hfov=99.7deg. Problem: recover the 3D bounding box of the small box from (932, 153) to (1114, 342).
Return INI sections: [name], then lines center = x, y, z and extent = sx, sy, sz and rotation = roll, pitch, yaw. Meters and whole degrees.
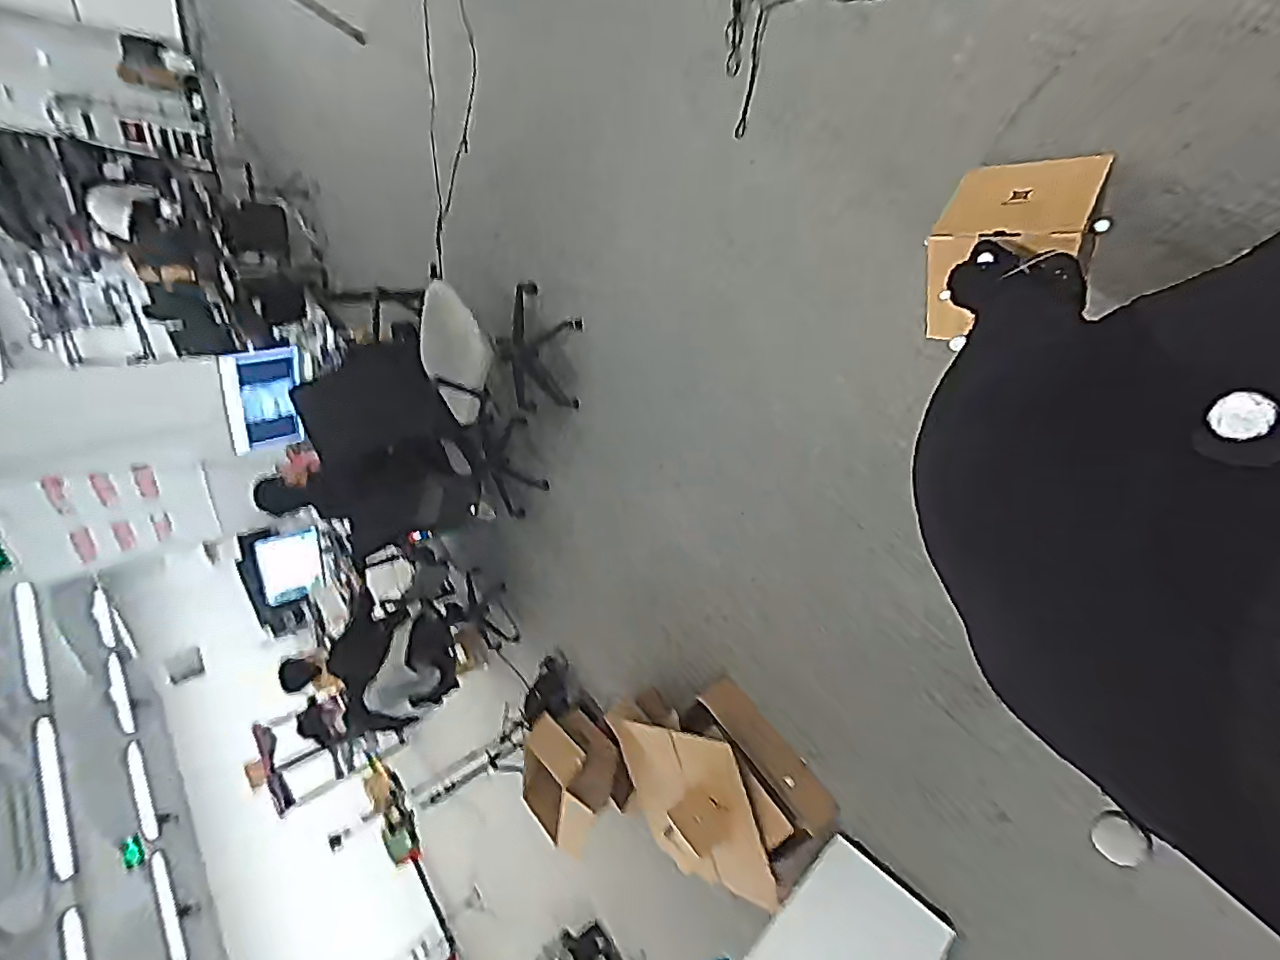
[small box]
center = 0.523, -0.322, 0.759
extent = 0.168, 0.179, 0.176
rotation = 18, 152, 38
